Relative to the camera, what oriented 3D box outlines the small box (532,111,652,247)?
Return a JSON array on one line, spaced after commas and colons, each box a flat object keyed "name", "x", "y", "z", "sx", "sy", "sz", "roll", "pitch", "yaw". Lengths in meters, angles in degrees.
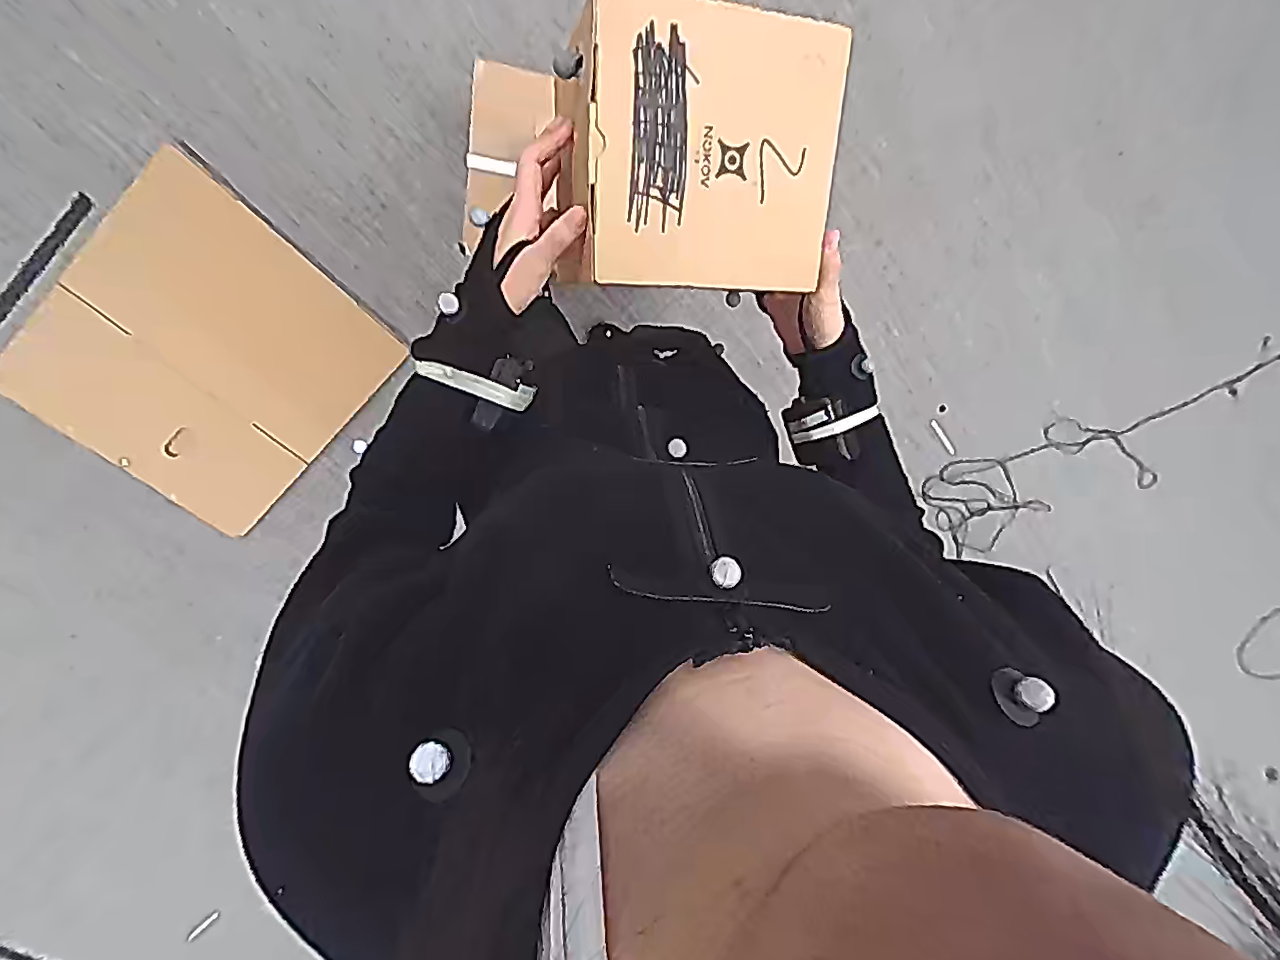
[{"name": "small box", "x": -0.088, "y": -0.497, "z": 0.919, "sx": 0.179, "sy": 0.176, "sz": 0.168, "roll": 3, "pitch": 111, "yaw": -11}]
